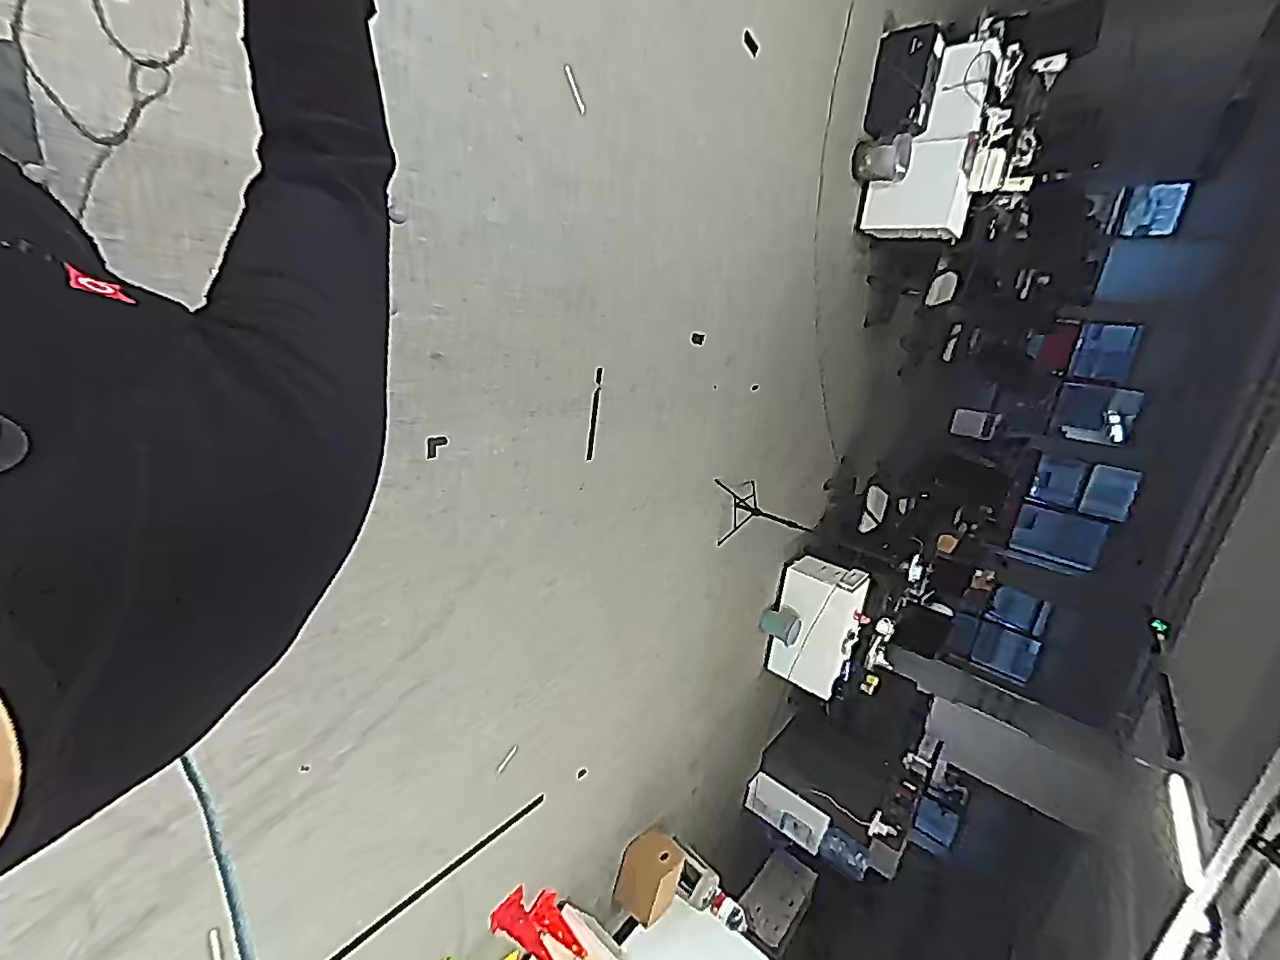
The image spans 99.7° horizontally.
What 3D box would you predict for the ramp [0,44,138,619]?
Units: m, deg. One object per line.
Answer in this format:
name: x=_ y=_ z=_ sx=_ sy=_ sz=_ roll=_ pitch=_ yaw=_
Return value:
ramp: x=-1.228 y=-0.226 z=0.862 sx=0.509 sy=0.206 sz=0.991 roll=-15 pitch=117 yaw=-46
